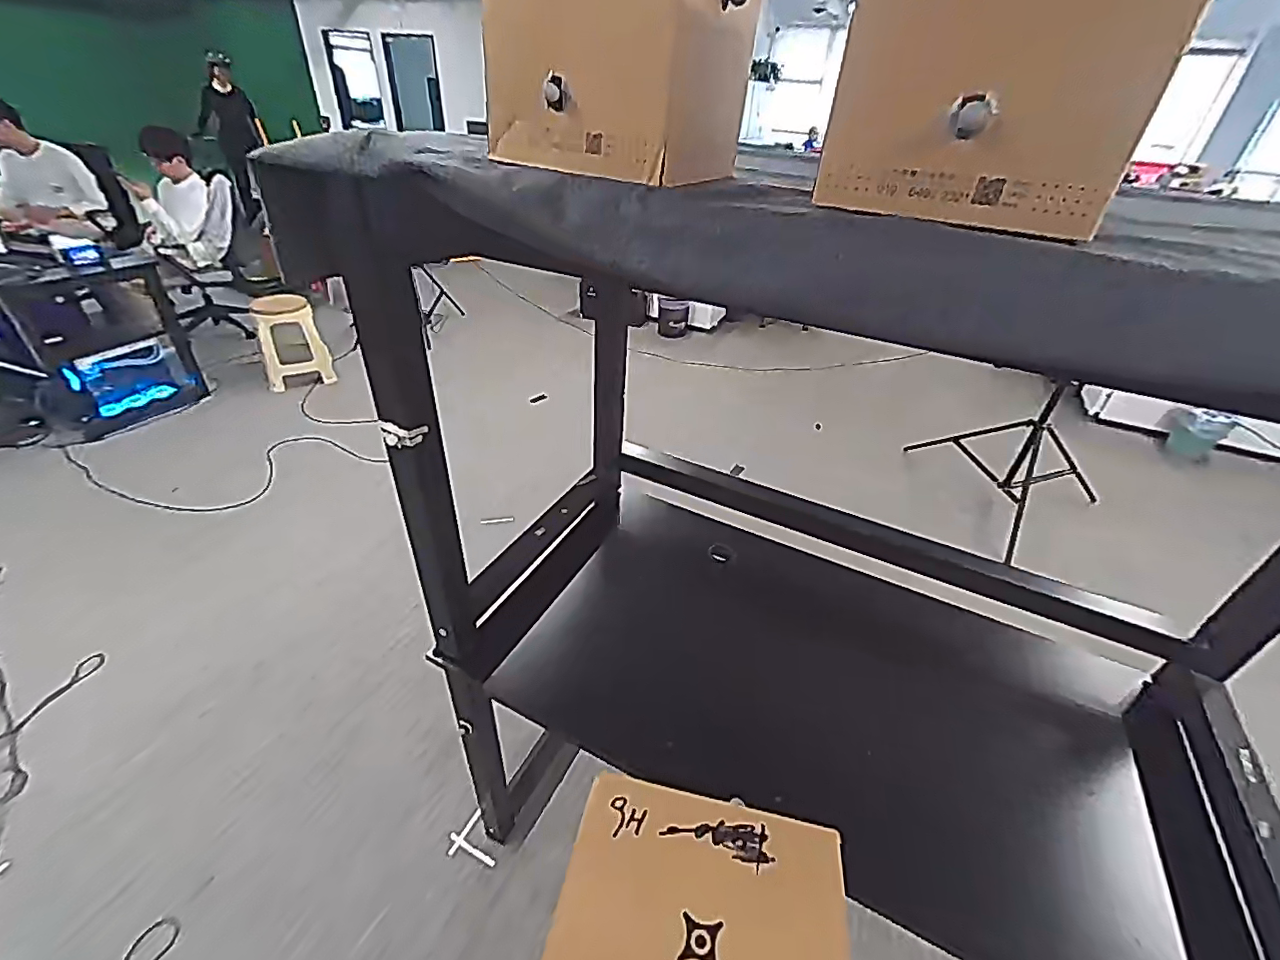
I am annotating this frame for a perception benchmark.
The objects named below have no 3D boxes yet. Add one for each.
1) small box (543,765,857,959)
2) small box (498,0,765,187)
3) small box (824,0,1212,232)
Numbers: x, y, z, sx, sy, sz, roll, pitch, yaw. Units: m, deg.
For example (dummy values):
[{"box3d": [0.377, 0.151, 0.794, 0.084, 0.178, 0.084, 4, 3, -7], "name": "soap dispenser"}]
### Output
[{"box3d": [0.029, 0.320, 0.332, 0.168, 0.176, 0.179, 10, 35, 8], "name": "small box"}, {"box3d": [-0.008, -0.355, 0.453, 0.168, 0.176, 0.179, 19, 37, 19], "name": "small box"}, {"box3d": [0.235, -0.273, 0.357, 0.168, 0.176, 0.179, 19, 36, 20], "name": "small box"}]
